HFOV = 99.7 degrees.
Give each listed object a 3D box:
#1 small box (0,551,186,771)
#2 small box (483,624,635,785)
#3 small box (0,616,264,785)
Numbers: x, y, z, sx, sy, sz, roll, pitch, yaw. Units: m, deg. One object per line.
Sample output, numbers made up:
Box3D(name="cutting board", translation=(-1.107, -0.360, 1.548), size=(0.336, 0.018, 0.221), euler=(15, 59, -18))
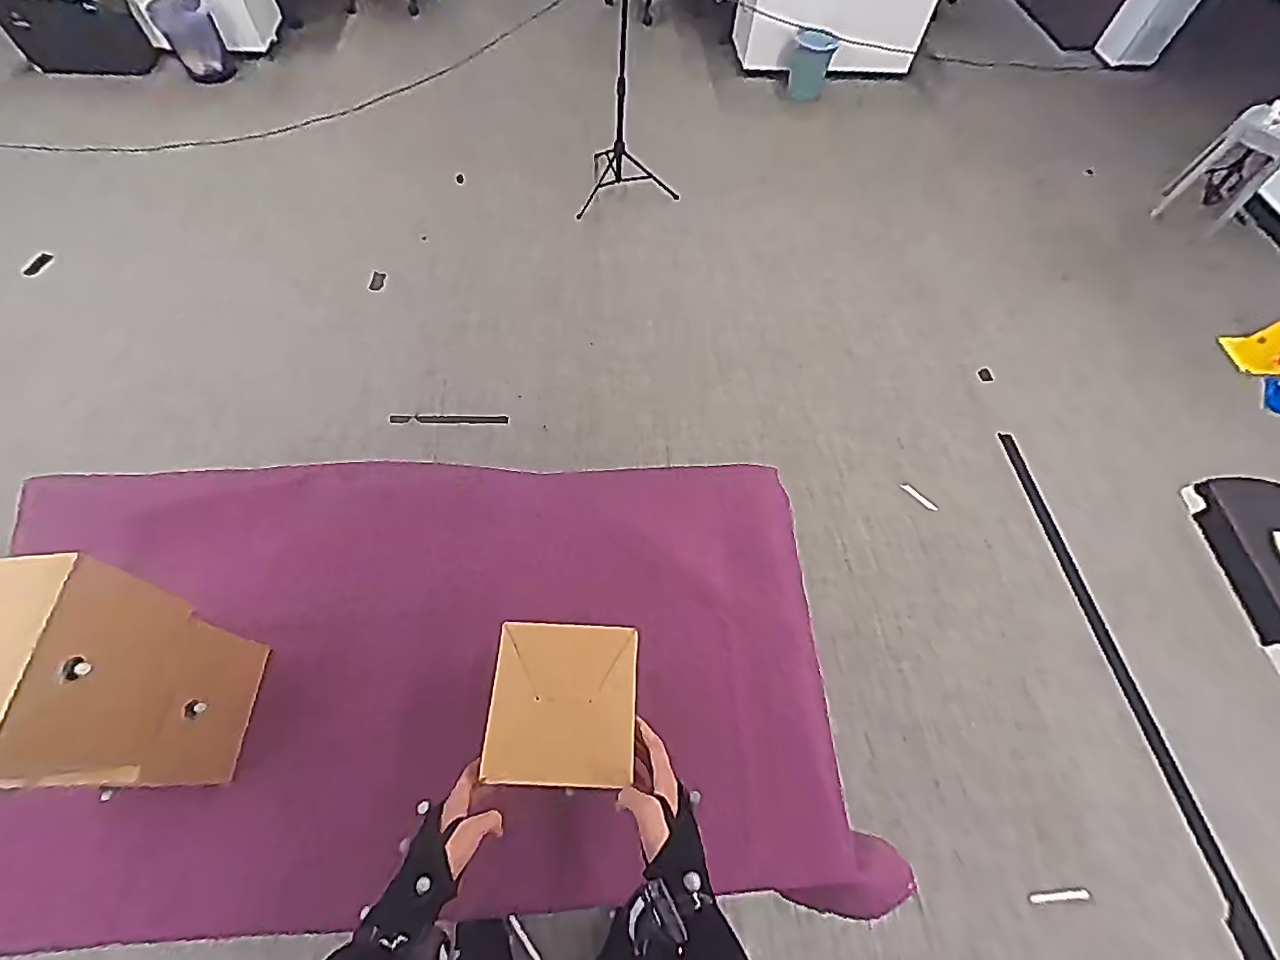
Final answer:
Box3D(name="small box", translation=(-0.604, 0.185, 0.531), size=(0.168, 0.176, 0.179), euler=(-3, 60, -6))
Box3D(name="small box", translation=(-0.094, 0.290, 0.697), size=(0.168, 0.176, 0.179), euler=(3, 60, -2))
Box3D(name="small box", translation=(-0.610, 0.275, 0.669), size=(0.168, 0.176, 0.179), euler=(1, 60, -4))
